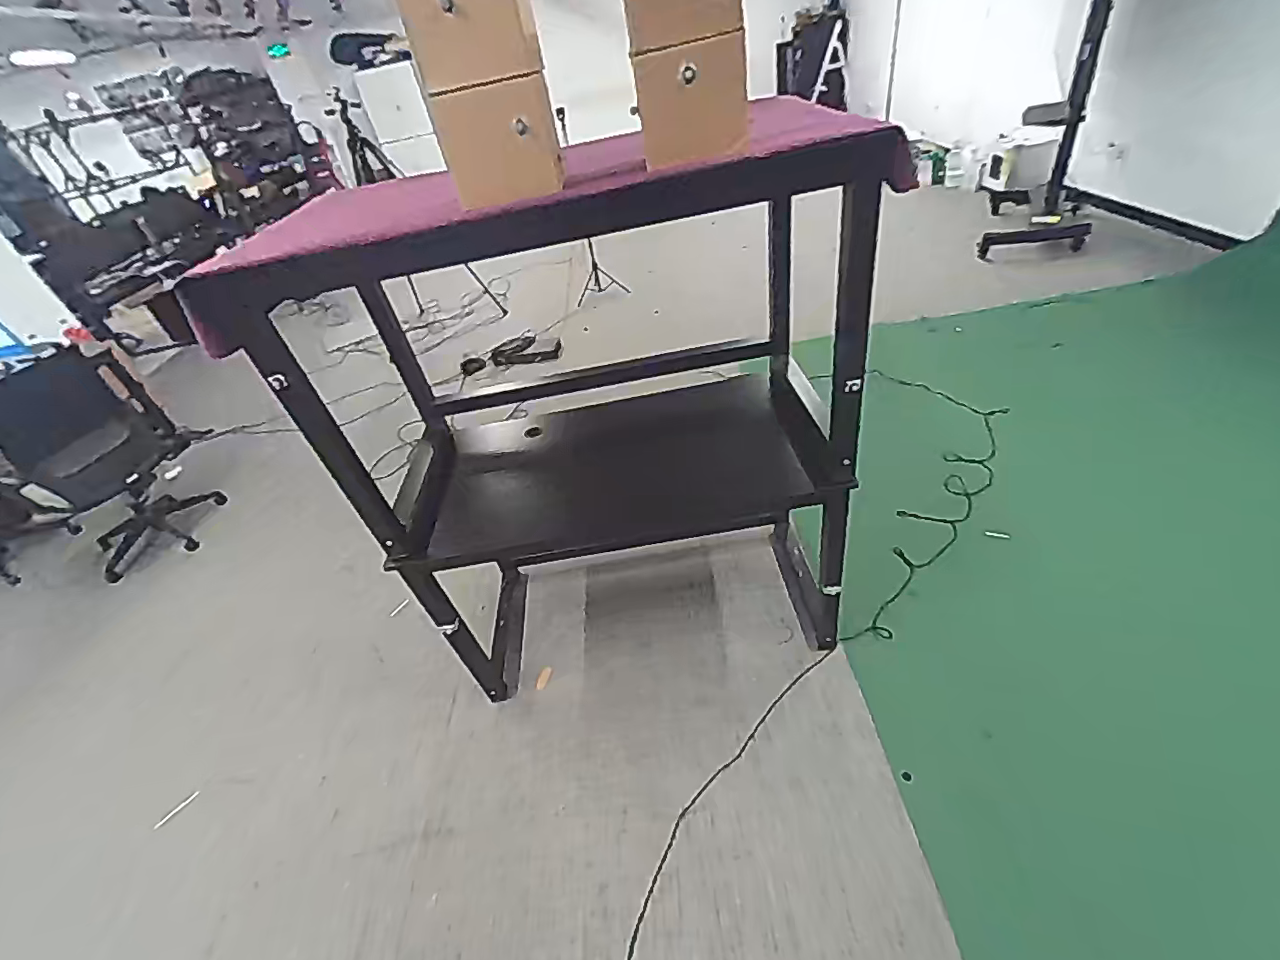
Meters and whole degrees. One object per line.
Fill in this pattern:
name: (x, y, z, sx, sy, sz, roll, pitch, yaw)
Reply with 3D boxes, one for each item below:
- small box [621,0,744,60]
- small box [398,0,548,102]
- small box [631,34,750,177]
small box: (0.056, -0.758, 0.821, 0.179, 0.176, 0.168, -8, 41, 6)
small box: (-0.258, -0.709, 0.843, 0.179, 0.176, 0.168, -9, 39, 5)
small box: (0.085, -0.637, 0.924, 0.179, 0.176, 0.168, -8, 40, 5)
